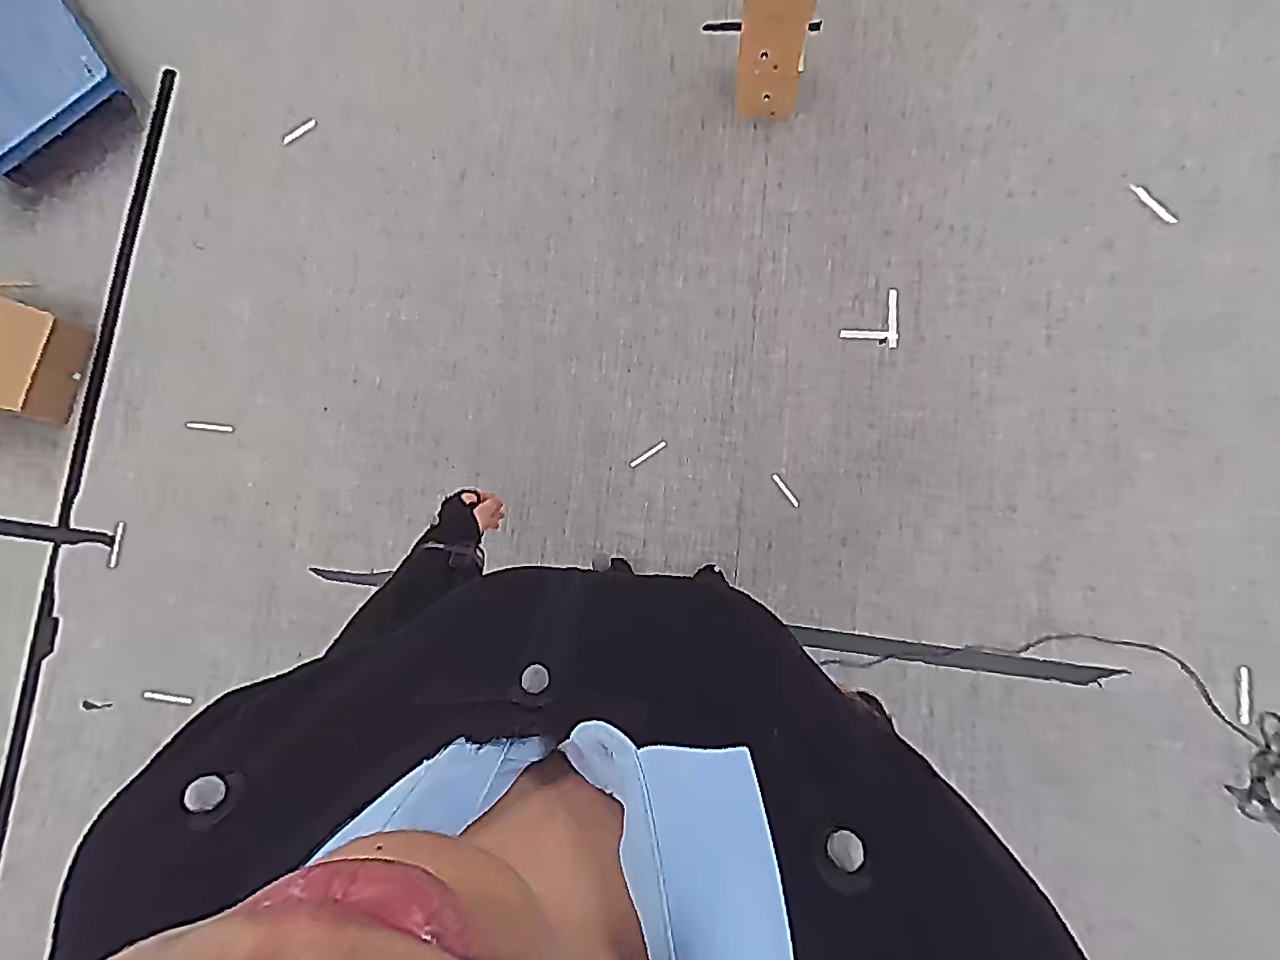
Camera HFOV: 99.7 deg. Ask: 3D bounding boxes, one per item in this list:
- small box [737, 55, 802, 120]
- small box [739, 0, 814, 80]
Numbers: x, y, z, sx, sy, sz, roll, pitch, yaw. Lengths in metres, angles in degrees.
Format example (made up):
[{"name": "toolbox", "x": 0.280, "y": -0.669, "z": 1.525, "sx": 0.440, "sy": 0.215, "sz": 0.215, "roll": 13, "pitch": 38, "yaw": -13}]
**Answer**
[{"name": "small box", "x": 0.379, "y": -1.193, "z": 1.586, "sx": 0.168, "sy": 0.176, "sz": 0.179, "roll": 4, "pitch": 82, "yaw": 5}, {"name": "small box", "x": 0.359, "y": -1.211, "z": 1.425, "sx": 0.168, "sy": 0.176, "sz": 0.179, "roll": 10, "pitch": 84, "yaw": 6}]
